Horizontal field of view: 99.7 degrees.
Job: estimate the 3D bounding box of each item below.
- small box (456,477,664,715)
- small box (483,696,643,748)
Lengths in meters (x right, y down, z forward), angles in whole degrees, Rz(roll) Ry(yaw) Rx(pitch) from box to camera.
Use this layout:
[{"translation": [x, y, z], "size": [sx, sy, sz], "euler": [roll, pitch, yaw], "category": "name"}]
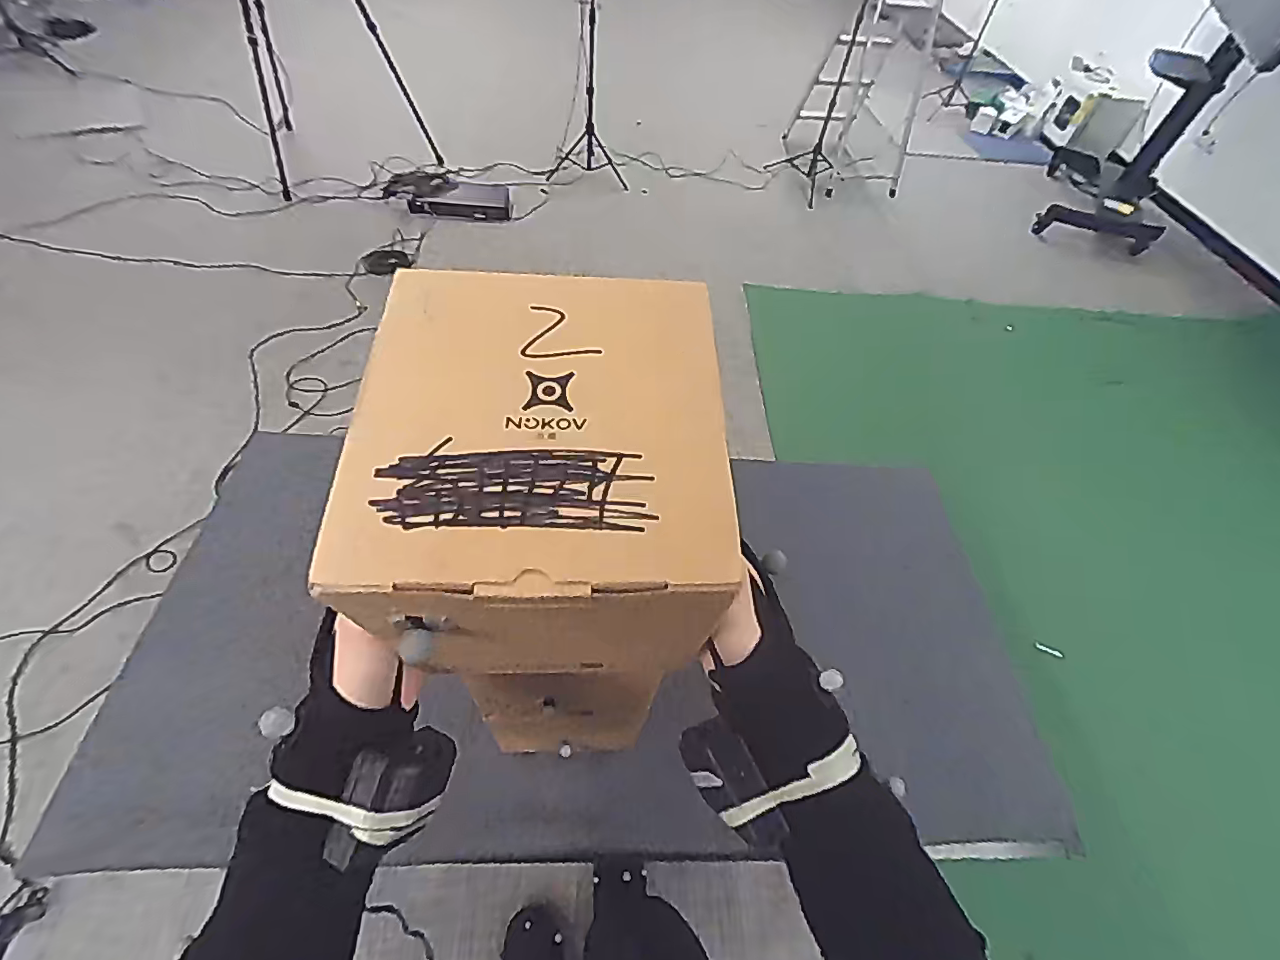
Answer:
[{"translation": [-0.072, 0.118, 0.534], "size": [0.168, 0.176, 0.179], "euler": [2, 53, -6], "category": "small box"}, {"translation": [-0.087, 0.216, 0.663], "size": [0.168, 0.176, 0.179], "euler": [1, 53, -5], "category": "small box"}]
